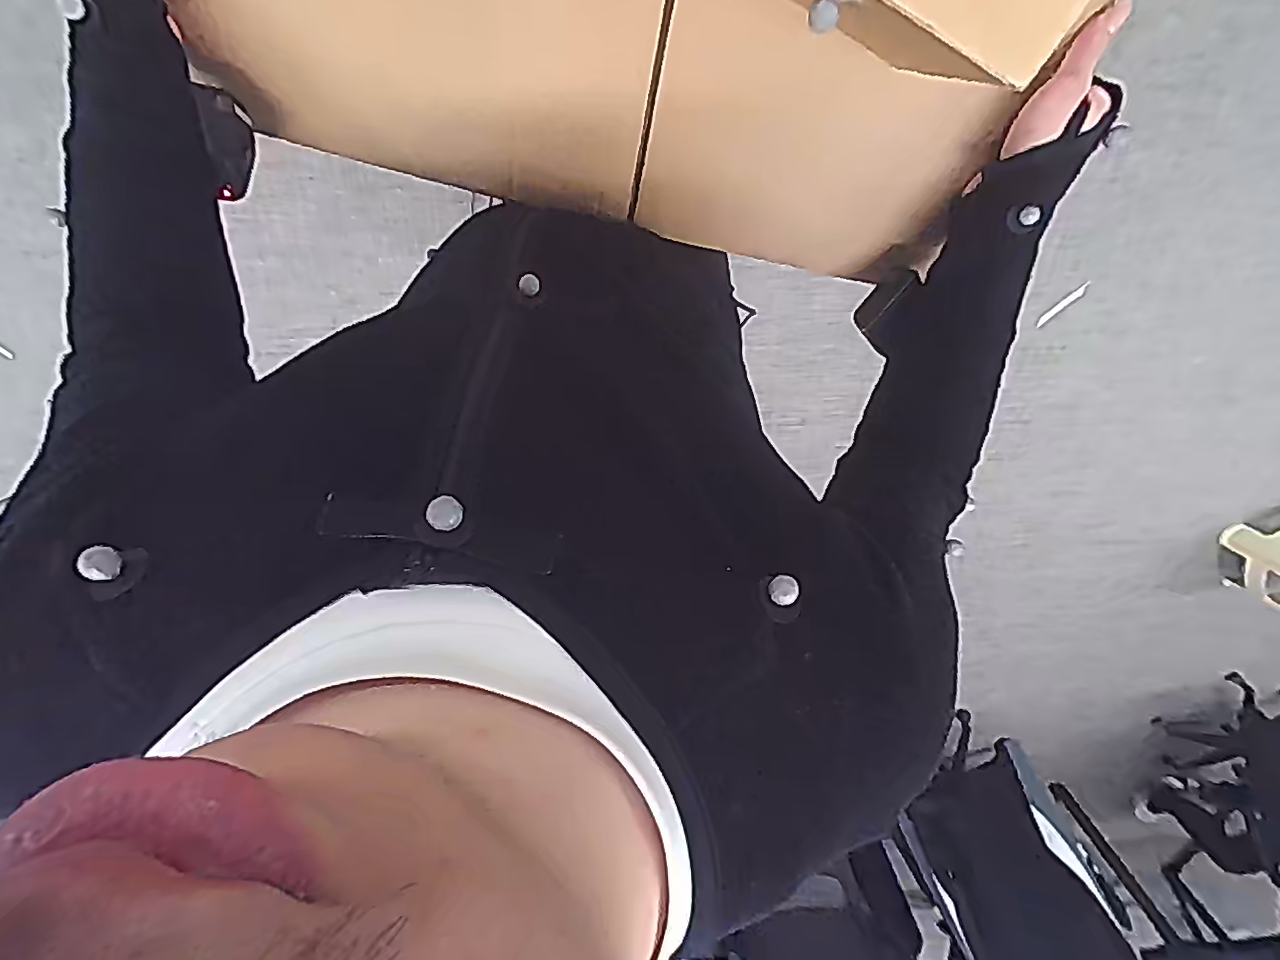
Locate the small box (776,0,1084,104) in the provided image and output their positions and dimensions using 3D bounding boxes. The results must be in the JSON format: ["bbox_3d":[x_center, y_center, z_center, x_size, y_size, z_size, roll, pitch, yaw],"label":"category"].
[{"bbox_3d":[0.143,-0.325,0.265,0.179,0.176,0.168,21,128,-13],"label":"small box"}]
